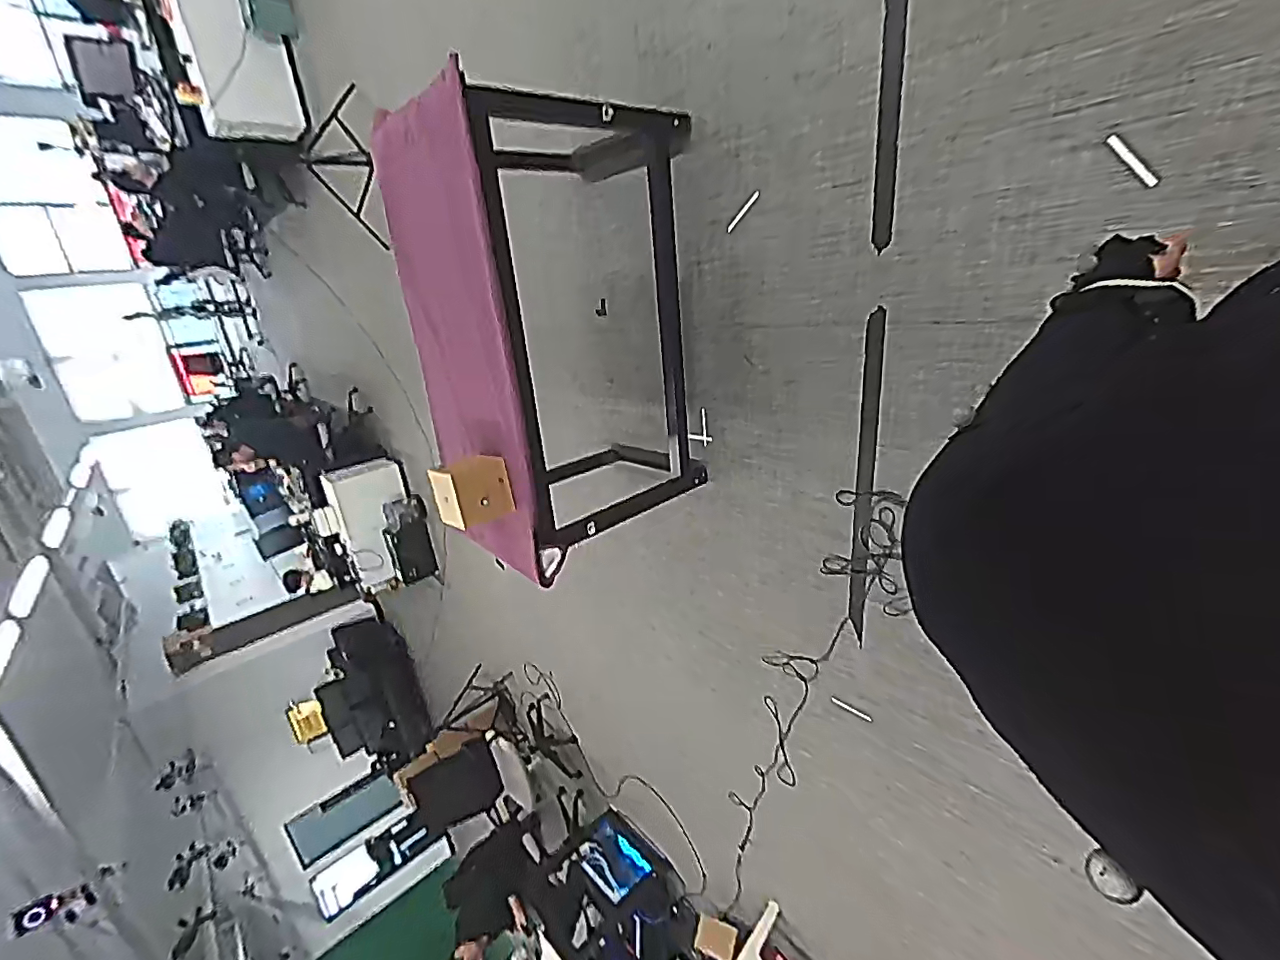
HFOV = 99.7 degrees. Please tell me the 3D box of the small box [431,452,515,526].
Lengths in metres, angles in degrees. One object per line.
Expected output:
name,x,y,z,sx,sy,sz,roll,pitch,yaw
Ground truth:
small box,-0.484,0.019,1.593,0.179,0.176,0.168,9,114,50
